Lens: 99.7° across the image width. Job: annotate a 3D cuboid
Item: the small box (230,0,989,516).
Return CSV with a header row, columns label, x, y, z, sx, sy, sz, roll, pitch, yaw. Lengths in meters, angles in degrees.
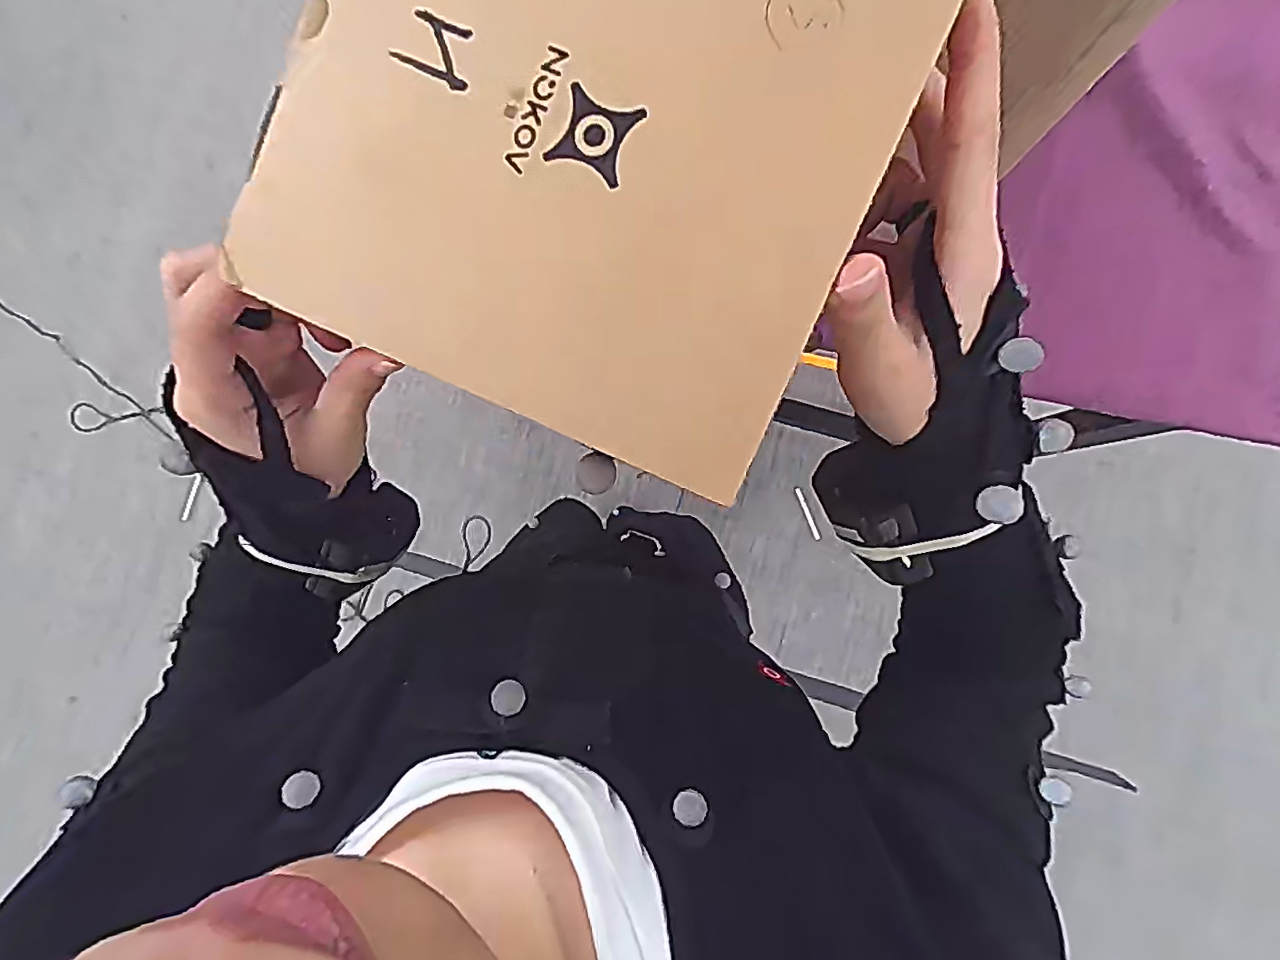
label,x,y,z,sx,sy,sz,roll,pitch,yaw
small box,-0.010,-0.102,0.235,0.179,0.176,0.168,24,94,3
